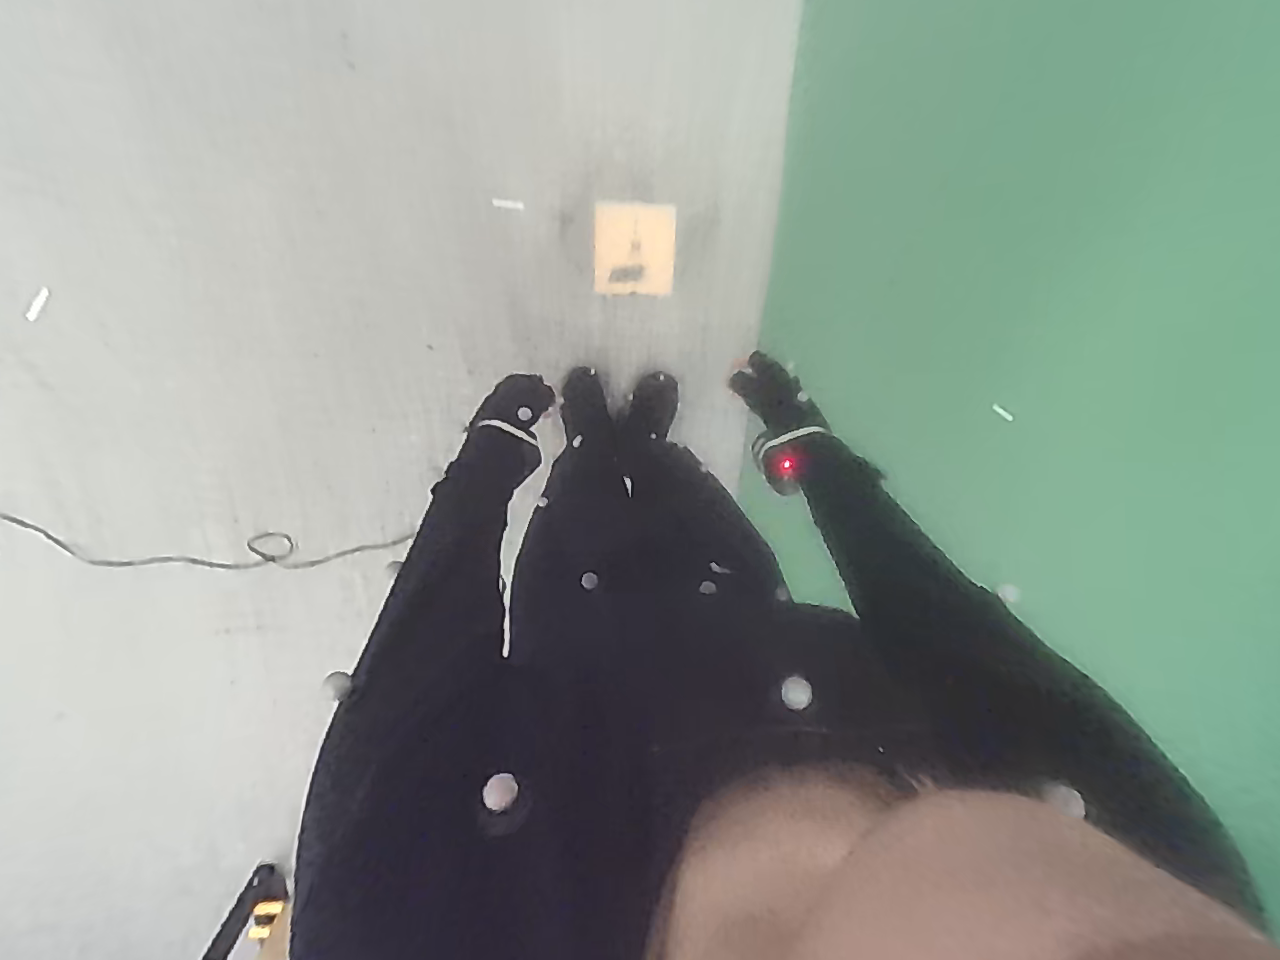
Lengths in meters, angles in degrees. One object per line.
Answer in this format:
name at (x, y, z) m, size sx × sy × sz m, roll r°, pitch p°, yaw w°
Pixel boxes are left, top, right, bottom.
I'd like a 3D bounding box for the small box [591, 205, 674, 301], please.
small box at (-0.021, -0.493, 1.187) m, size 0.168 × 0.176 × 0.179 m, roll 1°, pitch 109°, yaw -4°
